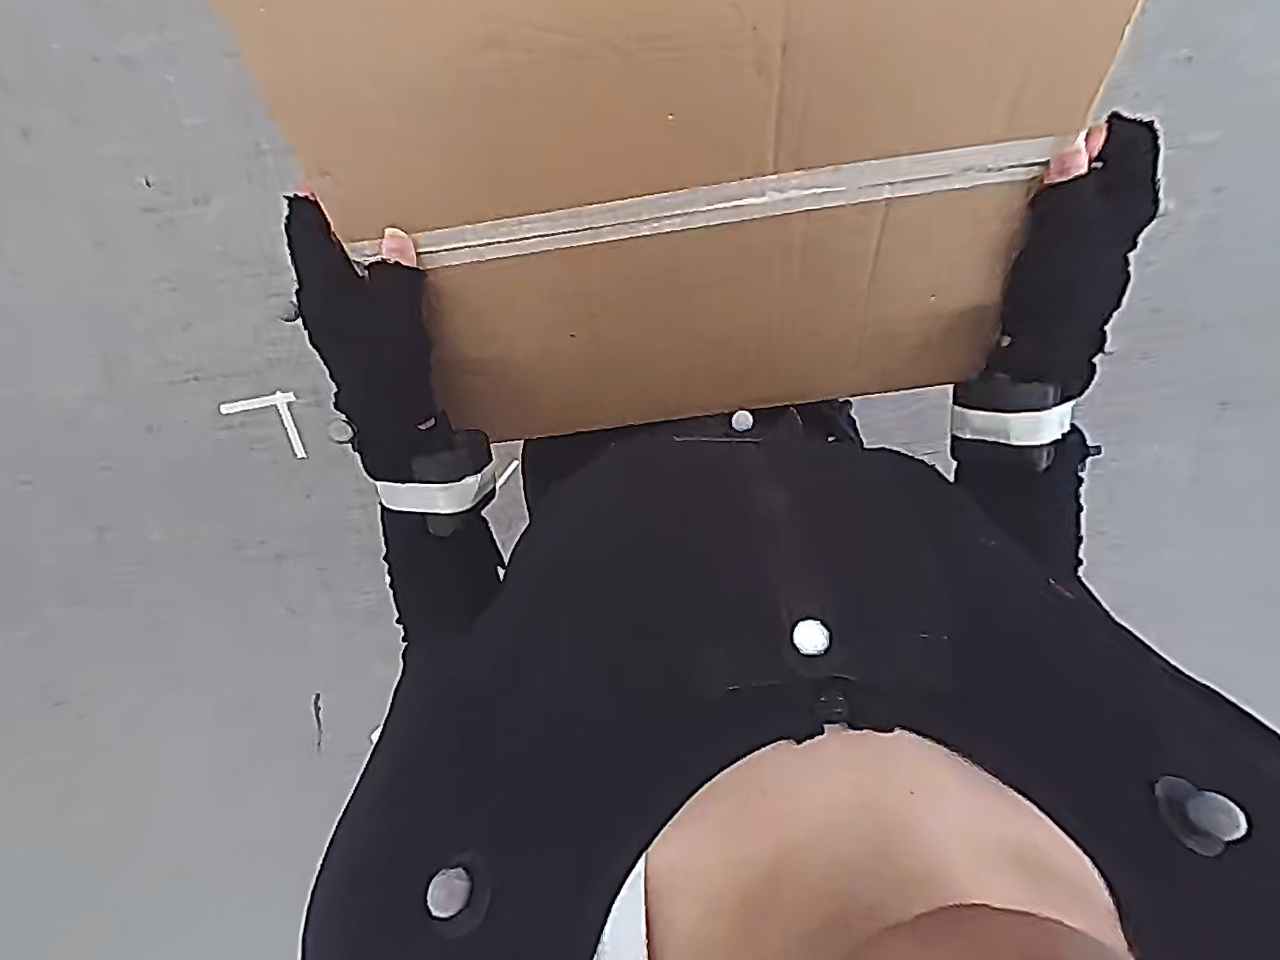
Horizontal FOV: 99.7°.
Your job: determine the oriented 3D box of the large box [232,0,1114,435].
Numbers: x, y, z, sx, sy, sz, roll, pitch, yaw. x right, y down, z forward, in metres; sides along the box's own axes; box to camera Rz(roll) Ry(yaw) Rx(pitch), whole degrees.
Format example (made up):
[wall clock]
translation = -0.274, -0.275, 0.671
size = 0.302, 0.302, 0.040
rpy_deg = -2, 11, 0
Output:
[large box]
translation = 0.021, -0.272, 0.408
size = 0.408, 0.320, 0.320
rpy_deg = -7, 139, 3
